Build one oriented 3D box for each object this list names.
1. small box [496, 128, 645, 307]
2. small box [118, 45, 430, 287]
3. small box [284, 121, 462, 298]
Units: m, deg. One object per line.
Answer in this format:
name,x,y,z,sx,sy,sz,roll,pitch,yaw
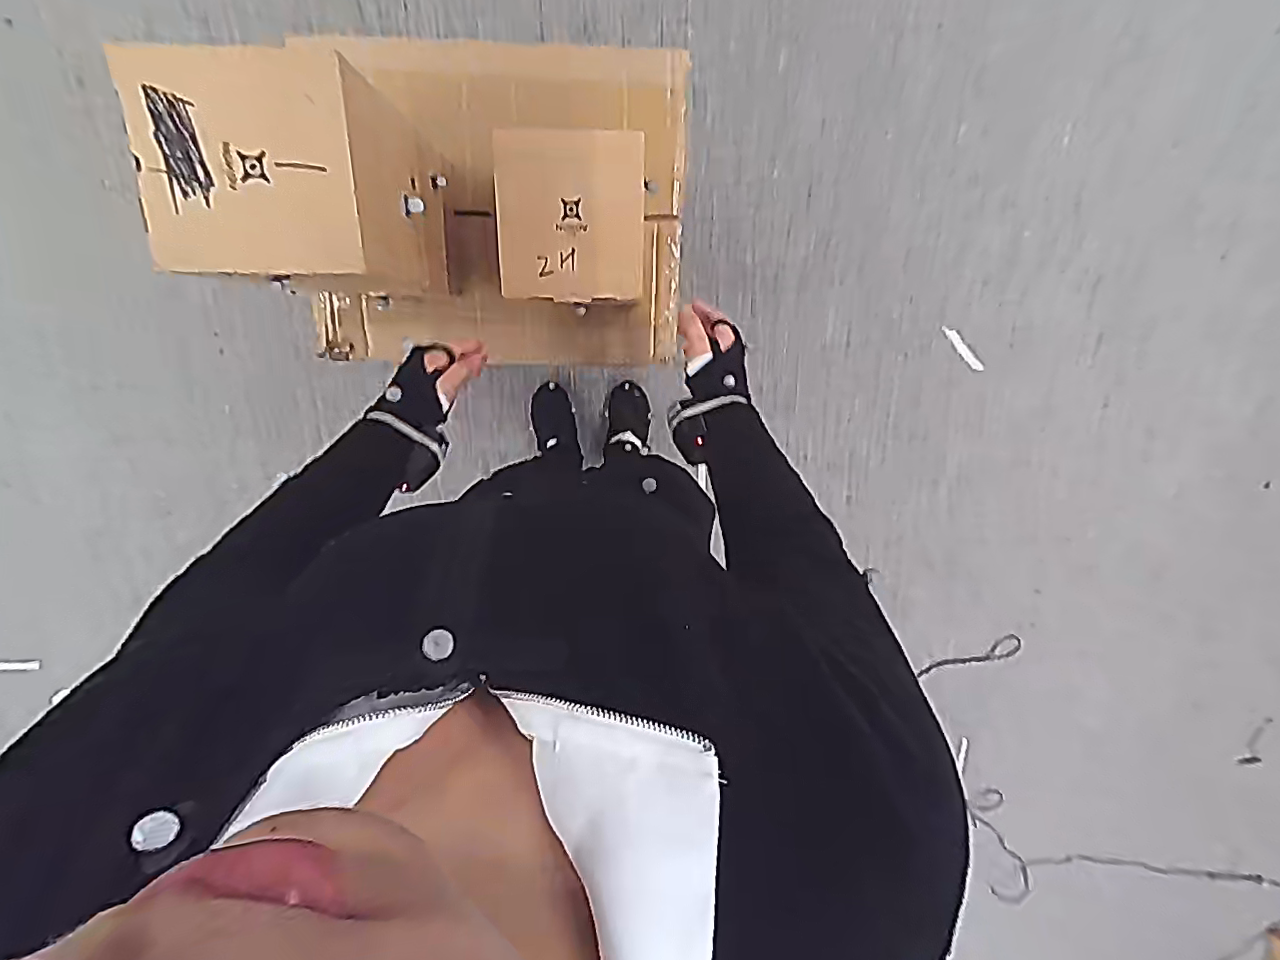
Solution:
small box,-0.080,-0.317,0.686,0.168,0.176,0.179,1,106,-1
small box,-0.323,-0.279,0.519,0.179,0.176,0.168,-1,106,-3
small box,-0.332,-0.325,0.677,0.168,0.176,0.179,0,107,-2
